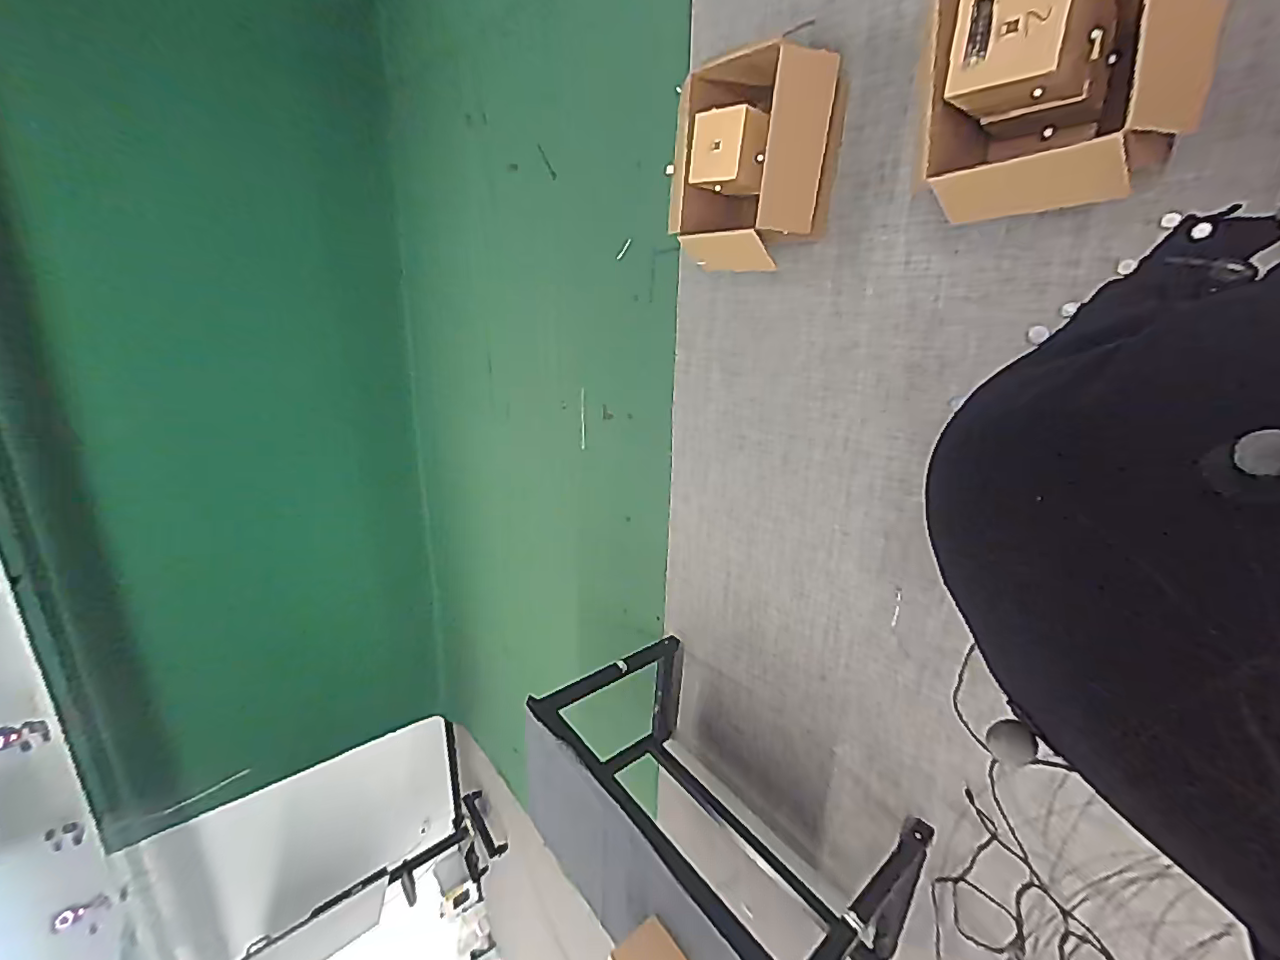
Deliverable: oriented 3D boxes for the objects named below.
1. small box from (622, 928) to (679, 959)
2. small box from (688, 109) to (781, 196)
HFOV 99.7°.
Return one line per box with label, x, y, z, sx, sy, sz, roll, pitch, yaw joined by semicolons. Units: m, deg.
small box;0.033;1.376;1.452;0.179;0.176;0.168;27;120;45
small box;0.257;-0.874;1.459;0.179;0.176;0.168;25;118;44
